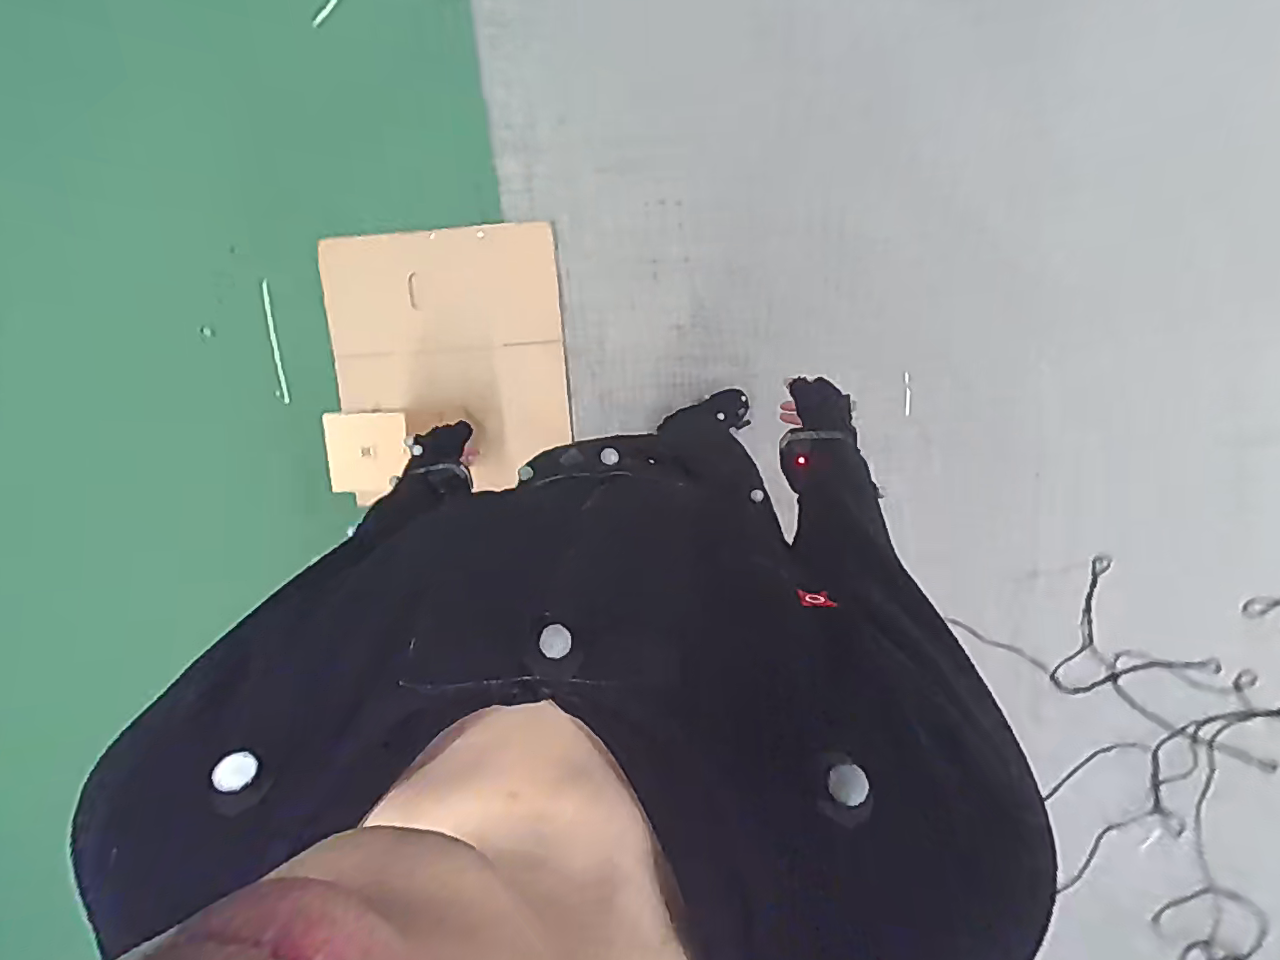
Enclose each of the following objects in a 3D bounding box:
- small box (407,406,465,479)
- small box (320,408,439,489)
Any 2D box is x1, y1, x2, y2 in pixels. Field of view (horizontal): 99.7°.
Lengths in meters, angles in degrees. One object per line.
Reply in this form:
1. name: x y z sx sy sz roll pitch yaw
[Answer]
1. small box: -0.553 -0.096 1.362 0.179 0.176 0.168 -3 100 2
2. small box: -0.569 -0.073 1.201 0.179 0.176 0.168 -2 100 1
